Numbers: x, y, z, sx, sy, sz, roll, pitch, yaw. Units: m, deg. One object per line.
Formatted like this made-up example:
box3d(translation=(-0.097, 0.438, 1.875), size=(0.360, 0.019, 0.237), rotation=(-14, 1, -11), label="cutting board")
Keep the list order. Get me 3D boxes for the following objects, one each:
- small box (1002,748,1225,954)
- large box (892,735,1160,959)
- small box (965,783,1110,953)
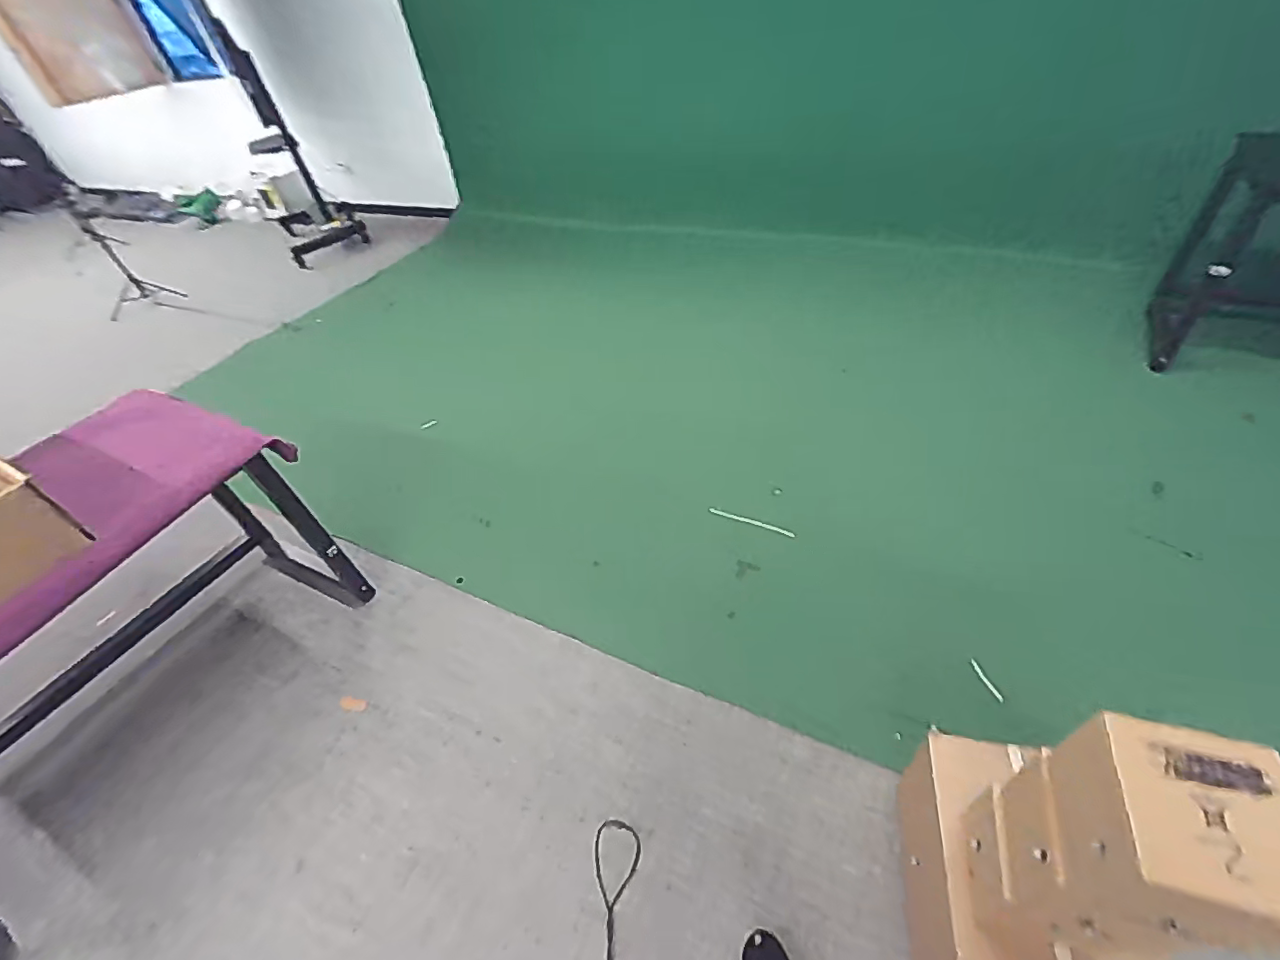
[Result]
box3d(translation=(0.628, 0.512, 0.750), size=(0.168, 0.176, 0.179), rotation=(10, 48, 18), label="small box")
box3d(translation=(0.702, 0.783, 1.048), size=(0.320, 0.320, 0.408), rotation=(6, 45, 13), label="large box")
box3d(translation=(0.640, 0.624, 0.867), size=(0.179, 0.176, 0.168), rotation=(9, 47, 17), label="small box")
